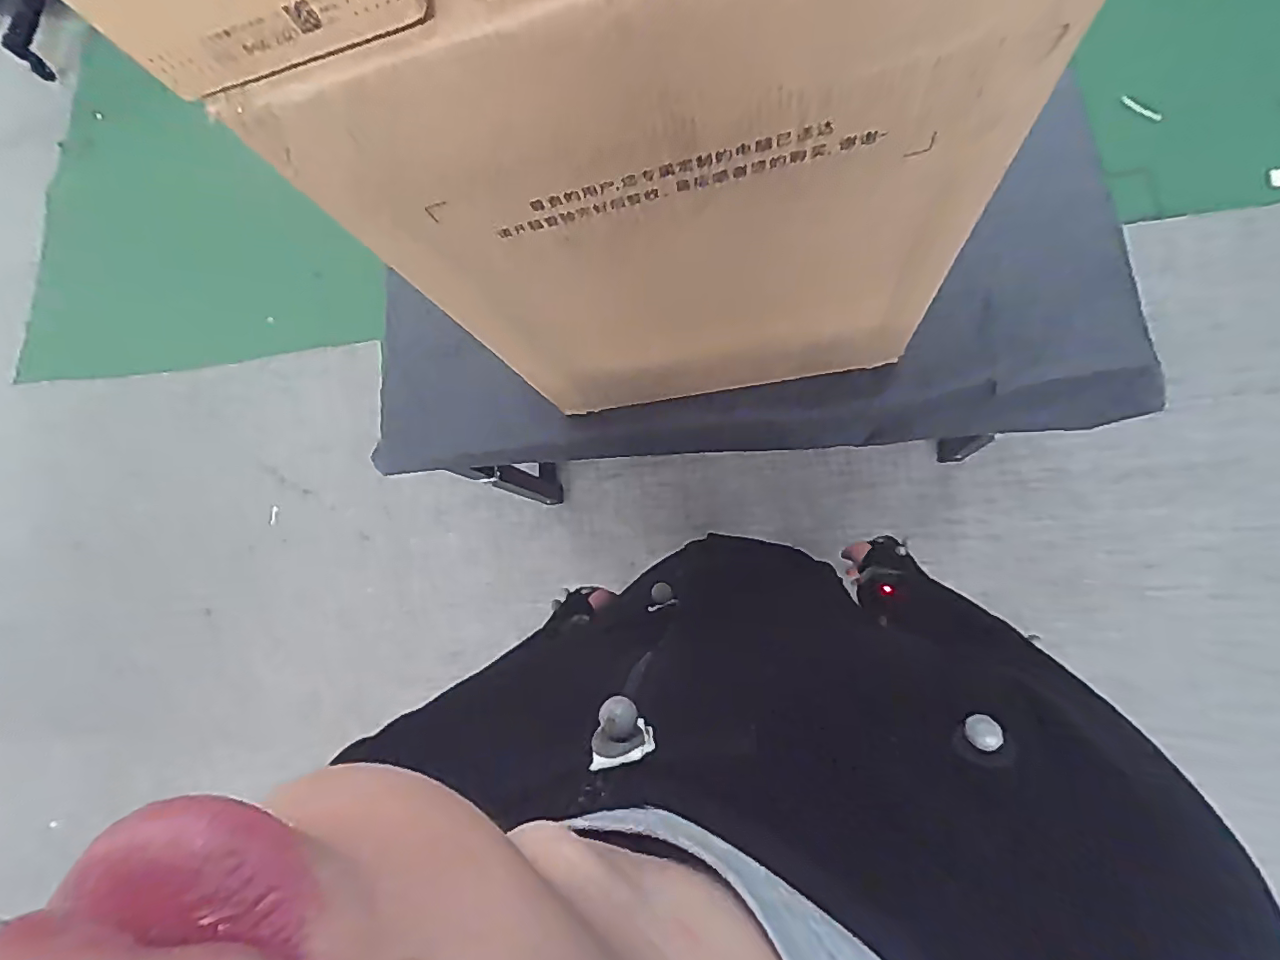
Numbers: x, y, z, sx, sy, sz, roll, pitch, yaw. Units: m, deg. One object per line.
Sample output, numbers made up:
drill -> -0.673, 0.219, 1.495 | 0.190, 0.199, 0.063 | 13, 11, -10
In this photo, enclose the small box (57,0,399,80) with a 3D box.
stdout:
small box -> -0.225, -0.327, 0.244 | 0.168, 0.176, 0.179 | -7, 79, 13
